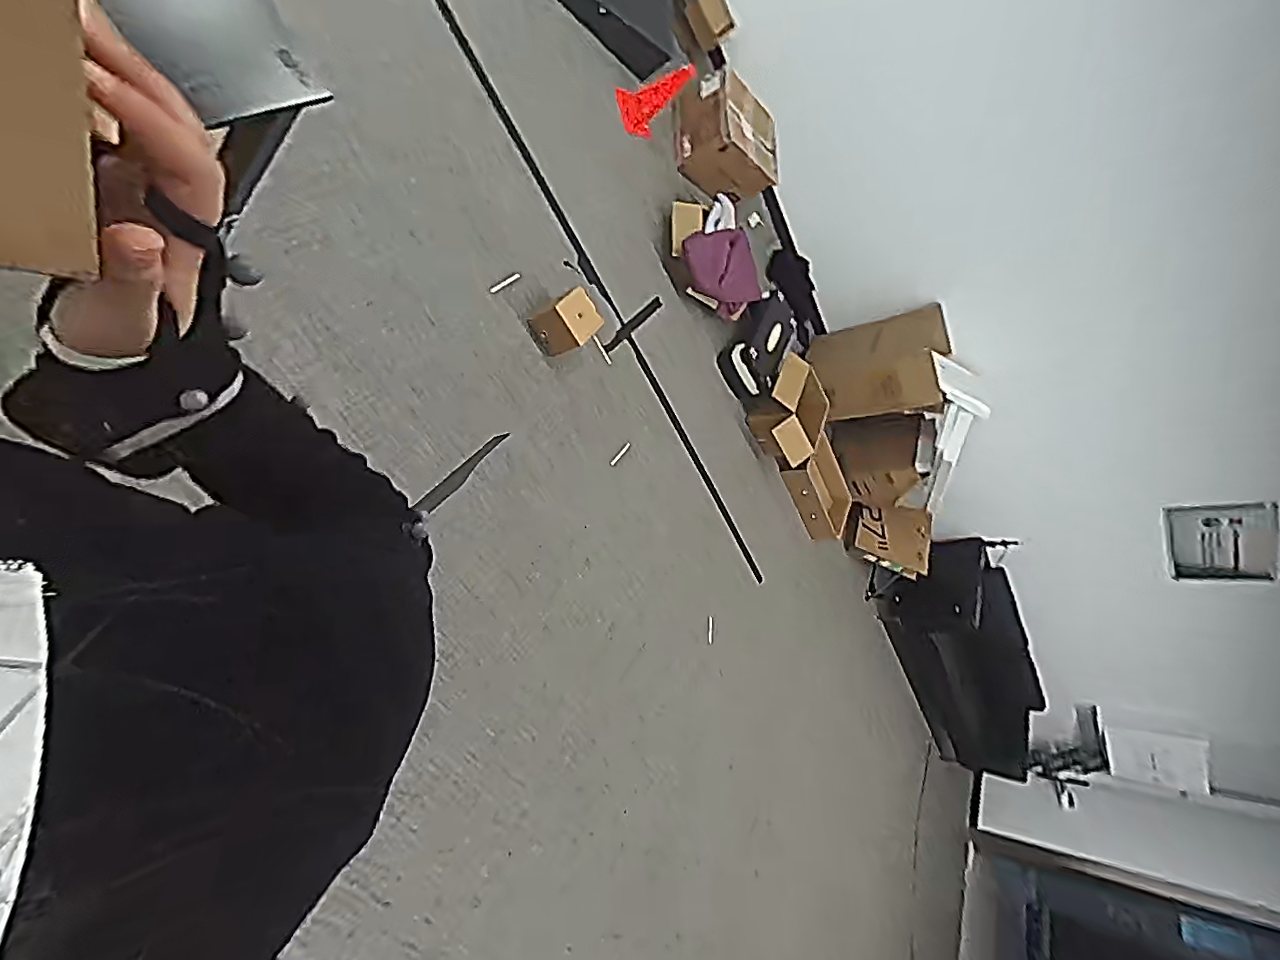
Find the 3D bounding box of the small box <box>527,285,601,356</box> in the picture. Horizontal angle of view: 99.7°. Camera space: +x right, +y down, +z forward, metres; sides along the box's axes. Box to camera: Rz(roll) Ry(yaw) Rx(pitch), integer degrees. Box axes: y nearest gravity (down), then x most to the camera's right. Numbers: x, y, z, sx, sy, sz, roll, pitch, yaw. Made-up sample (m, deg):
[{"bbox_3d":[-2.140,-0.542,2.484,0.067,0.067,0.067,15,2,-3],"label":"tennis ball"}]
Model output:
[{"bbox_3d":[-0.285,-0.589,2.006,0.168,0.176,0.179,55,49,-27],"label":"small box"}]
